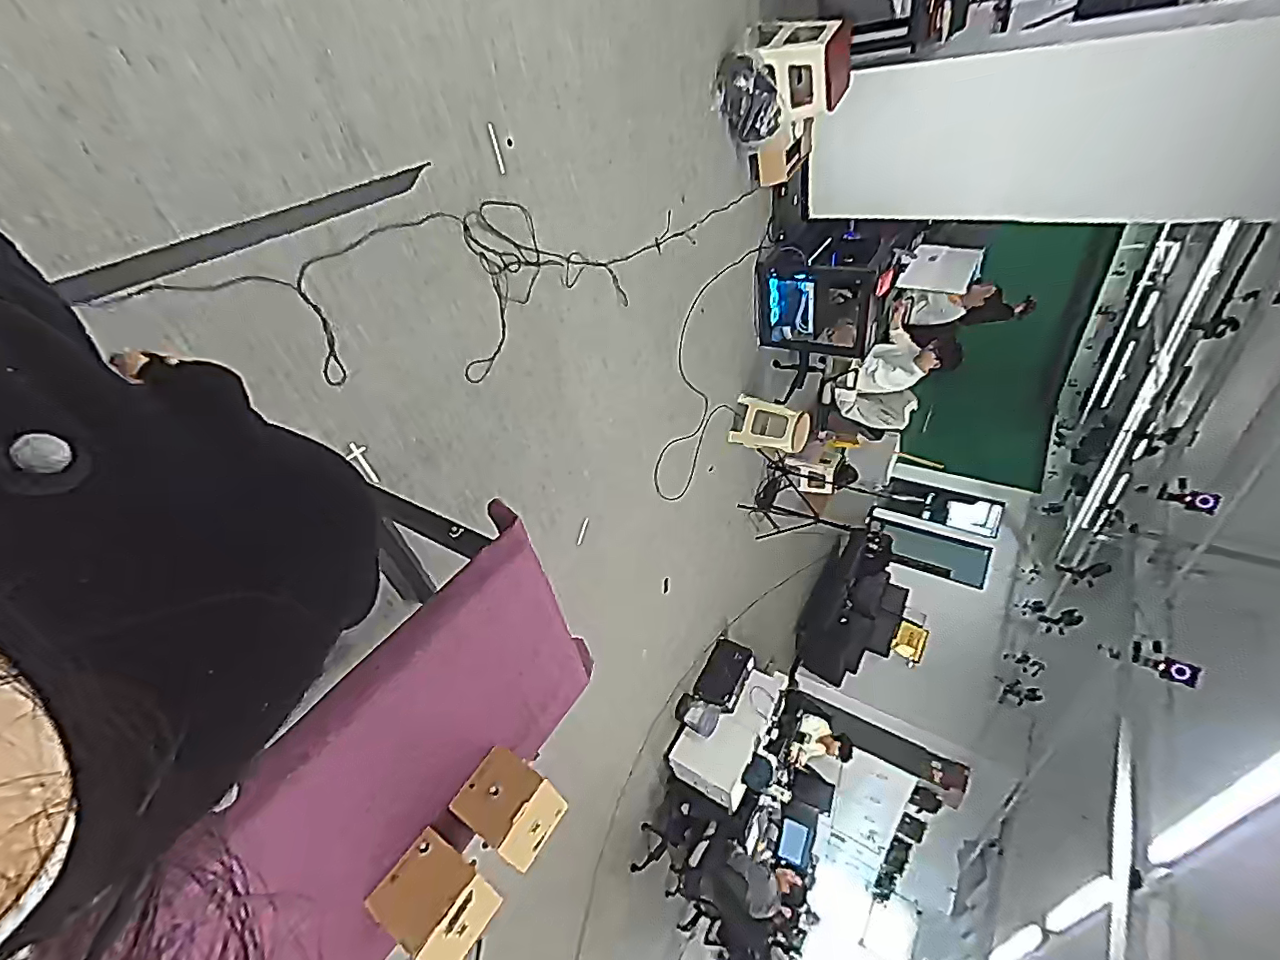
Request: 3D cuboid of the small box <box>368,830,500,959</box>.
[{"bbox_3d":[-0.433,0.884,1.139,0.168,0.176,0.179,-45,139,-38],"label":"small box"}]
